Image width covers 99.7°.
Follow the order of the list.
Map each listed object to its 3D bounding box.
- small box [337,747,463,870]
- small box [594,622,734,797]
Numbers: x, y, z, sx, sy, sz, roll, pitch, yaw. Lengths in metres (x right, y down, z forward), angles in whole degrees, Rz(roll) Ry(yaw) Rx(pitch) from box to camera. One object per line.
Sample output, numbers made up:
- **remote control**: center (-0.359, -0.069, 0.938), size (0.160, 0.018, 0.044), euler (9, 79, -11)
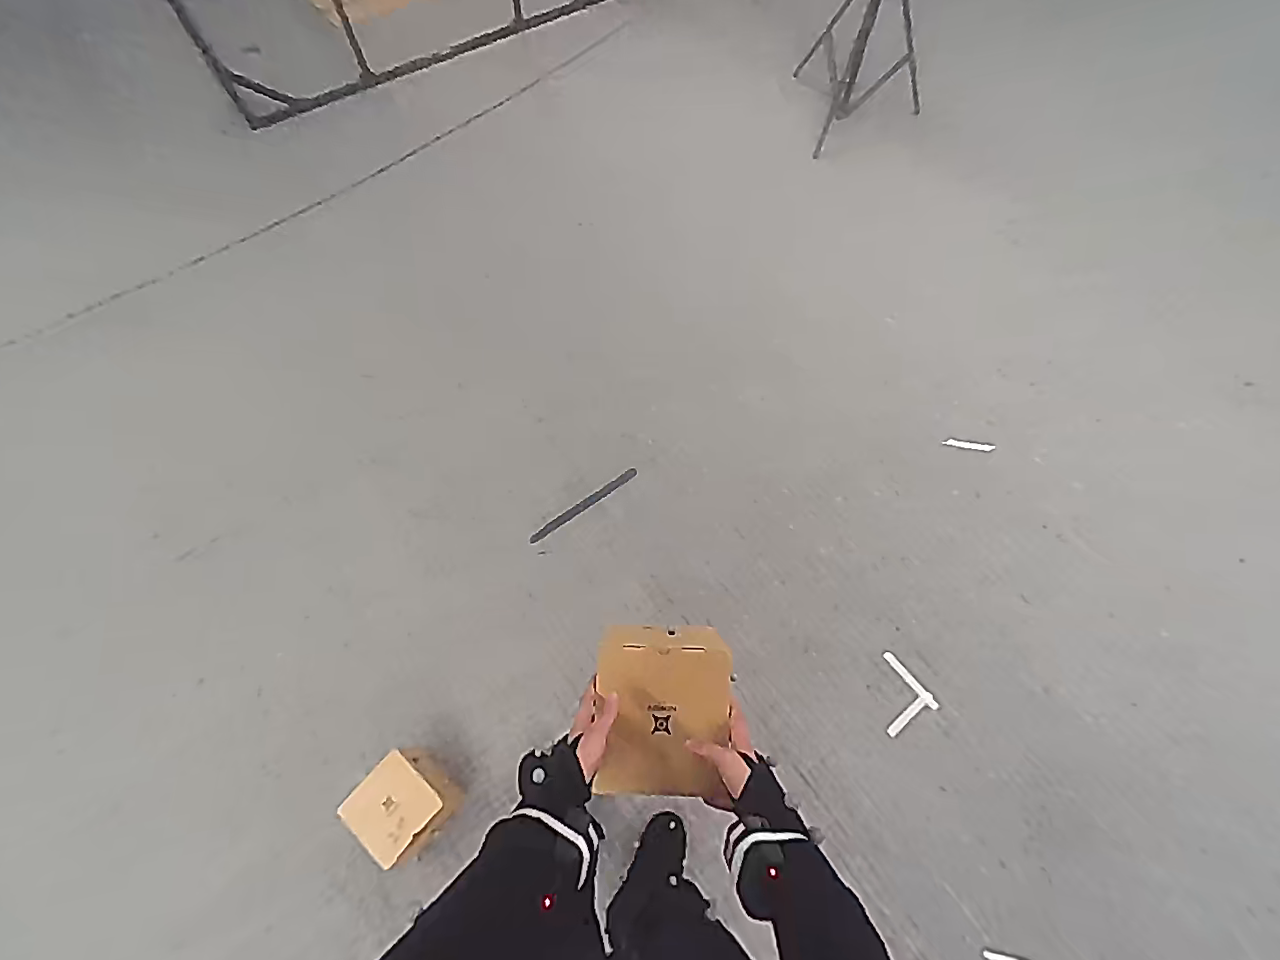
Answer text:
- **small box**: center (-0.544, 0.747, 1.247), size (0.179, 0.176, 0.168), euler (37, 70, 16)
- **small box**: center (0.033, 0.296, 0.732), size (0.168, 0.176, 0.179), euler (2, 82, 2)
